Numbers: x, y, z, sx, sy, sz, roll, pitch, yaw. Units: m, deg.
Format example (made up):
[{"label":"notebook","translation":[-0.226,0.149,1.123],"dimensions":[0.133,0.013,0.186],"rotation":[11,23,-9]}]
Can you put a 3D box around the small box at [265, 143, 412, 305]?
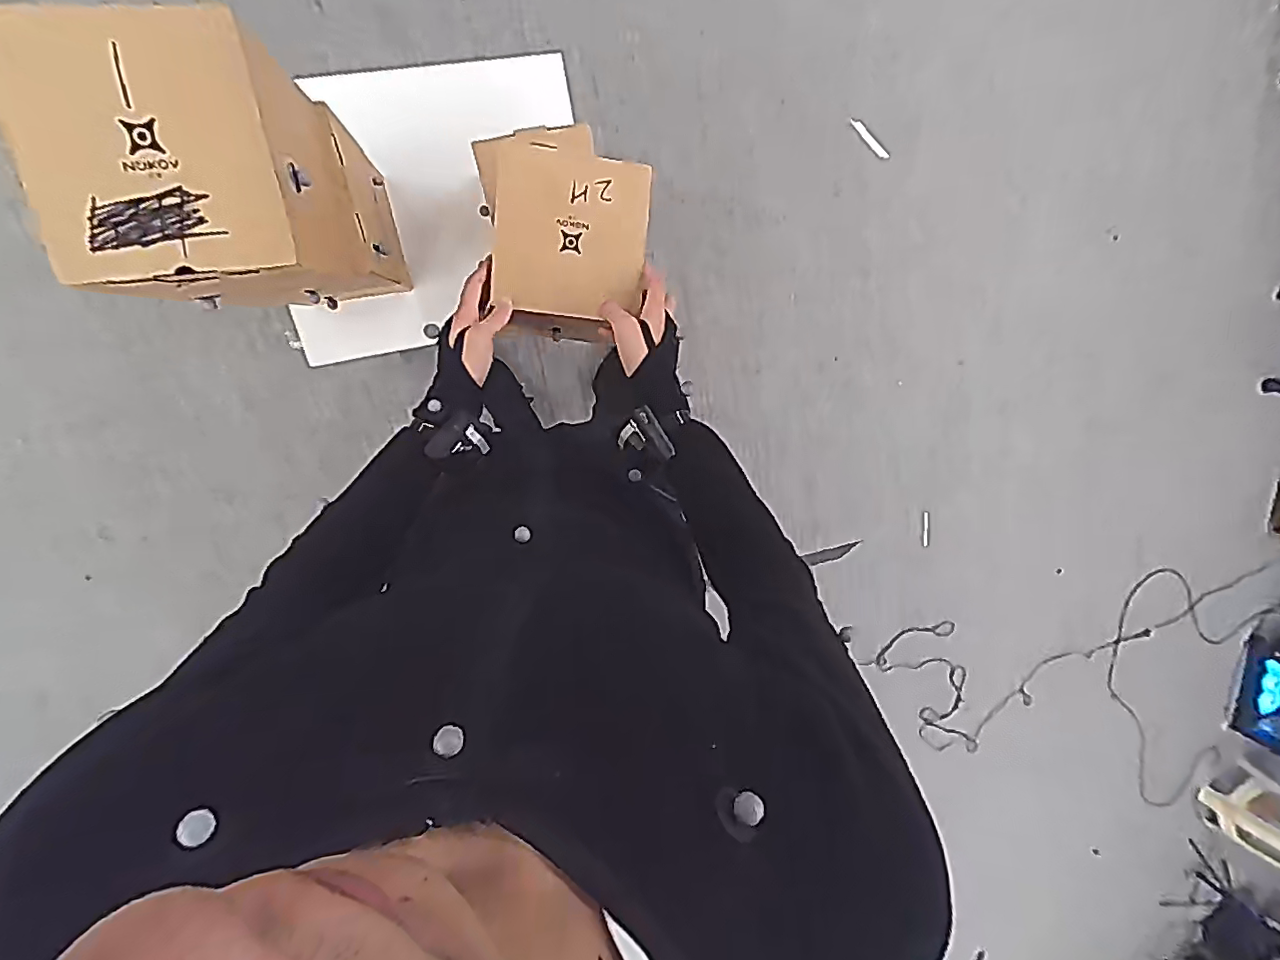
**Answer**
[{"label":"small box","translation":[-0.441,-0.351,0.771],"dimensions":[0.168,0.176,0.179],"rotation":[-13,108,-11]}]

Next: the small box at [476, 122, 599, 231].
[{"label":"small box","translation":[-0.143,-0.409,0.827],"dimensions":[0.168,0.176,0.179],"rotation":[-15,108,-8]}]

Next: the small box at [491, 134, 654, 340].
[{"label":"small box","translation":[-0.088,-0.274,0.659],"dimensions":[0.168,0.176,0.179],"rotation":[4,95,-13]}]

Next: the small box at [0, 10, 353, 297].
[{"label":"small box","translation":[-0.370,-0.256,0.464],"dimensions":[0.168,0.176,0.179],"rotation":[-10,107,-11]}]
